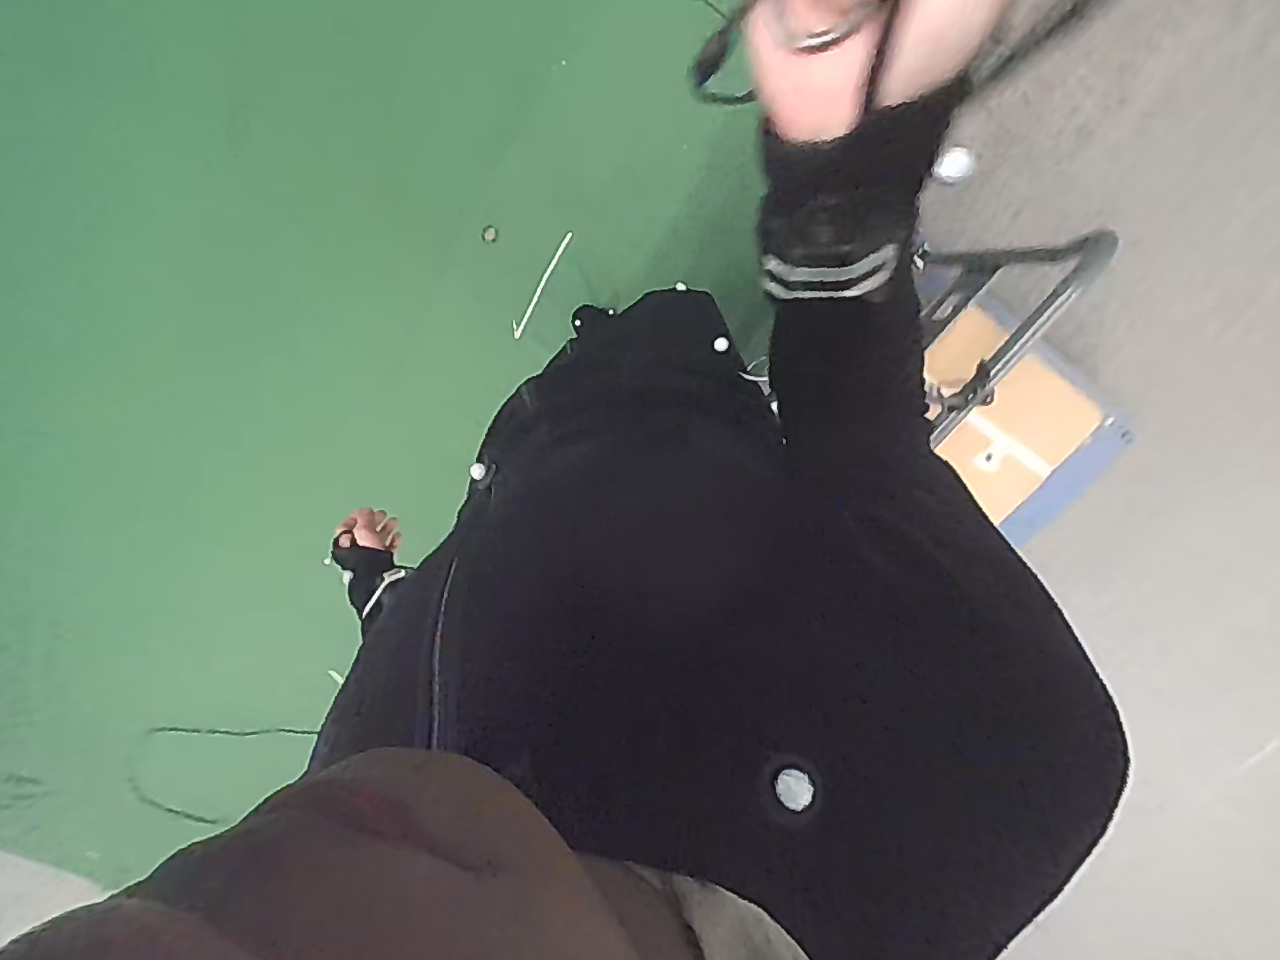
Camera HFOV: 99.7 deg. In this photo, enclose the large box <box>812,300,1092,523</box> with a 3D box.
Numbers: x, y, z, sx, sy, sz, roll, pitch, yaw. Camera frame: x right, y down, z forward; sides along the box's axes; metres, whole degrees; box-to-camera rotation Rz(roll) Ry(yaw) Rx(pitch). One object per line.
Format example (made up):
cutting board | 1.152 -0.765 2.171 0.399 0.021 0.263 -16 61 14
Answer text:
large box | 0.688 -0.173 1.261 0.408 0.320 0.320 32 109 -13
